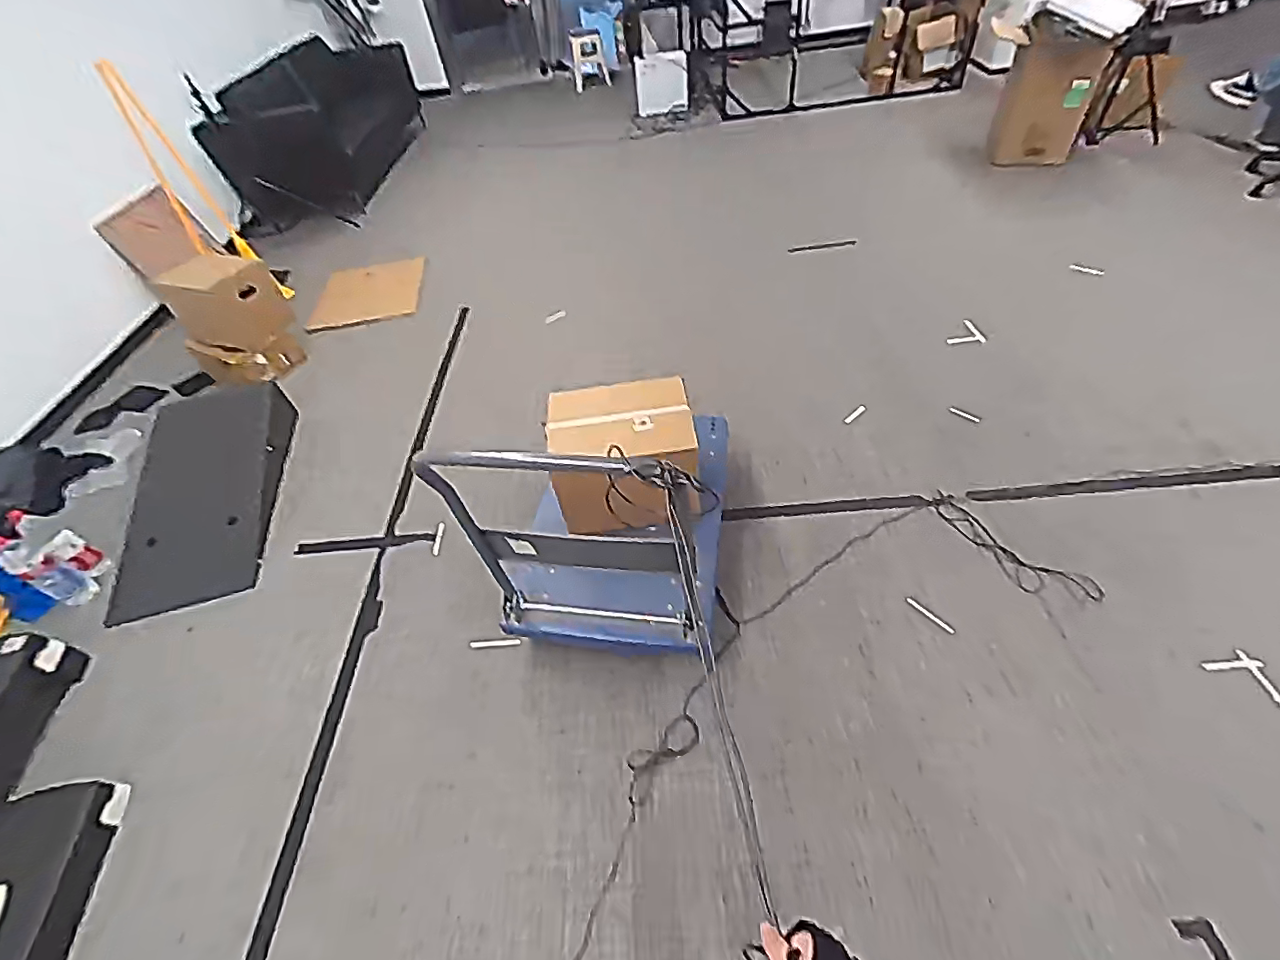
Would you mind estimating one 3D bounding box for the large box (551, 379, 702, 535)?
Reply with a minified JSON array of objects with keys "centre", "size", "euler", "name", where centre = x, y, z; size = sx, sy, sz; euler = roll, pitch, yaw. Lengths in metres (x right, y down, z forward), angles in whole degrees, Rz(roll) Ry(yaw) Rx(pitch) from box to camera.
[{"centre":[-0.038,-0.065,1.615],"size":[0.408,0.320,0.320],"euler":[-7,48,1],"name":"large box"}]
